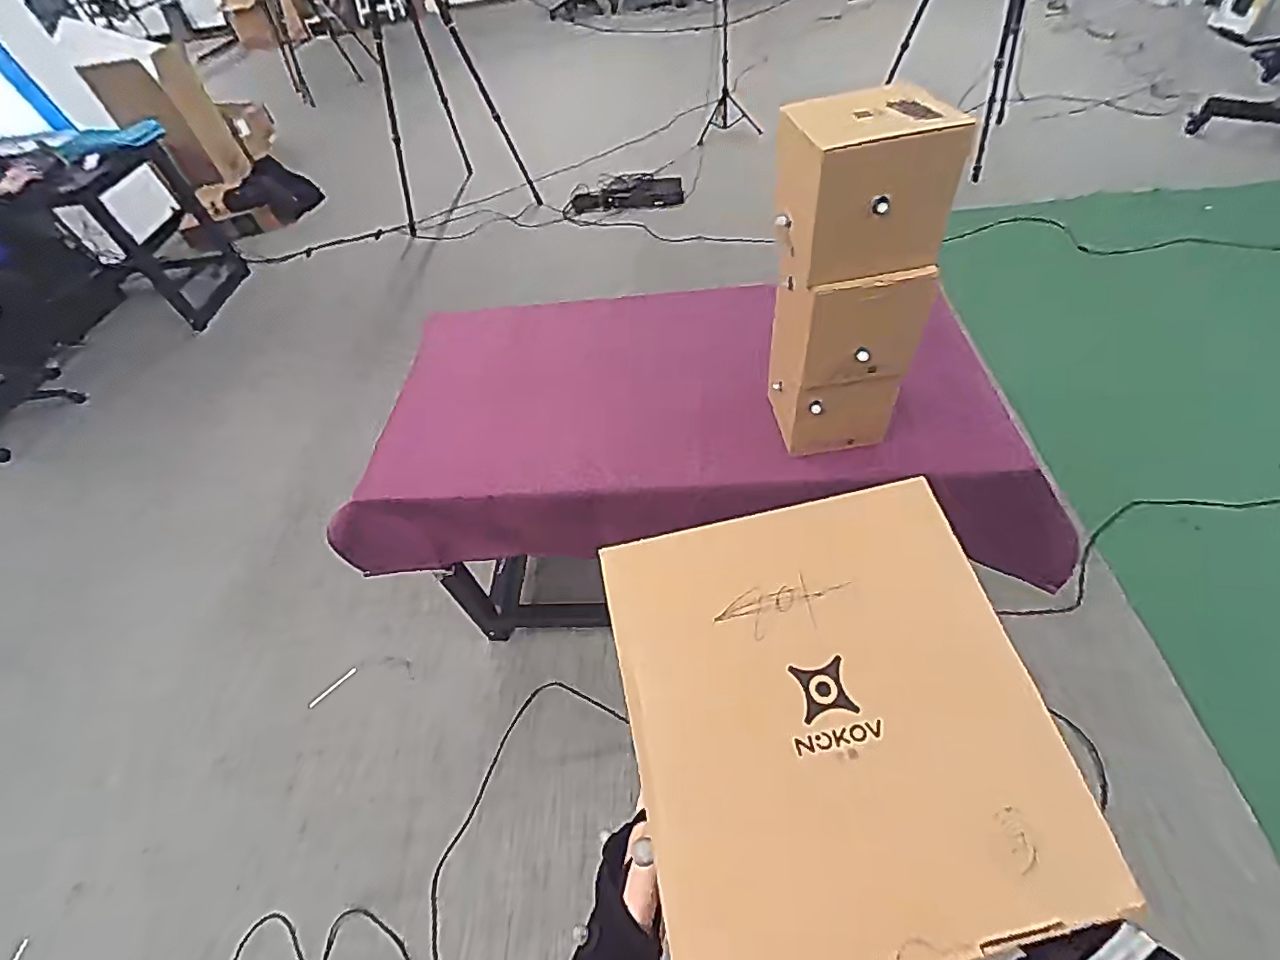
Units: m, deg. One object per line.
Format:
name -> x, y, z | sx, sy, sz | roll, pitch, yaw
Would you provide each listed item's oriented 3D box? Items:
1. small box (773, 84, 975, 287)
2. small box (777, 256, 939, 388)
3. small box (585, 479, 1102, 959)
small box -> 0.281, -0.376, 0.698 | 0.179, 0.176, 0.168 | -10, 49, 2
small box -> 0.310, -0.264, 0.816 | 0.168, 0.176, 0.179 | -8, 50, 3
small box -> 0.074, 0.127, 0.296 | 0.168, 0.176, 0.179 | -12, 61, -2
